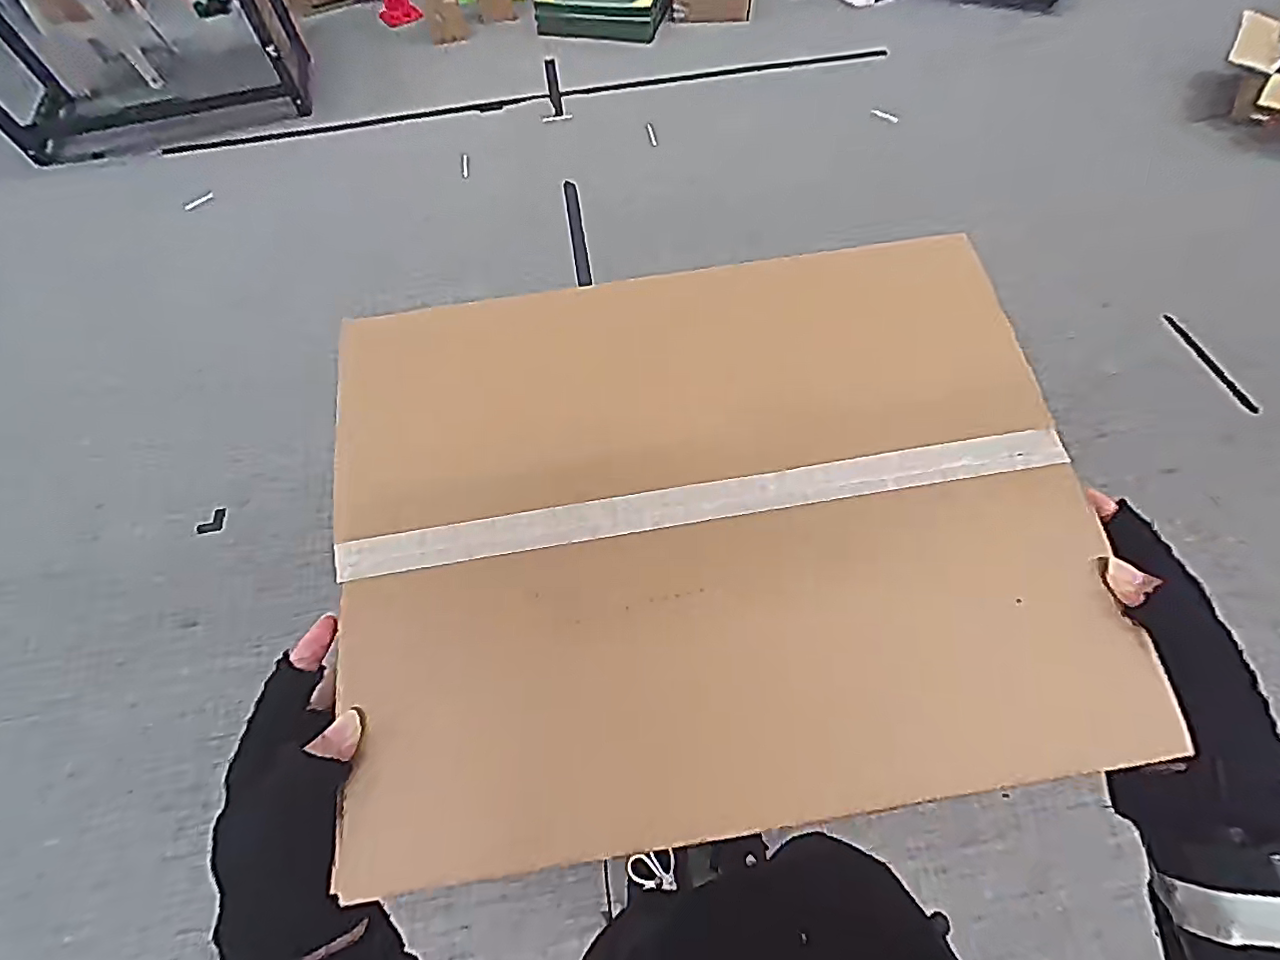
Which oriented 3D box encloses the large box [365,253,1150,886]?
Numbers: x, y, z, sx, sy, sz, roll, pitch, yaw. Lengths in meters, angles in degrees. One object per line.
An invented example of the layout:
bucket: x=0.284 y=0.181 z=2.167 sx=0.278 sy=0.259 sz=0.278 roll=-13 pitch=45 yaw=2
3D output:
large box: x=0.042 y=0.068 z=0.454 sx=0.408 sy=0.320 sz=0.320 roll=-9 pitch=72 yaw=-2
